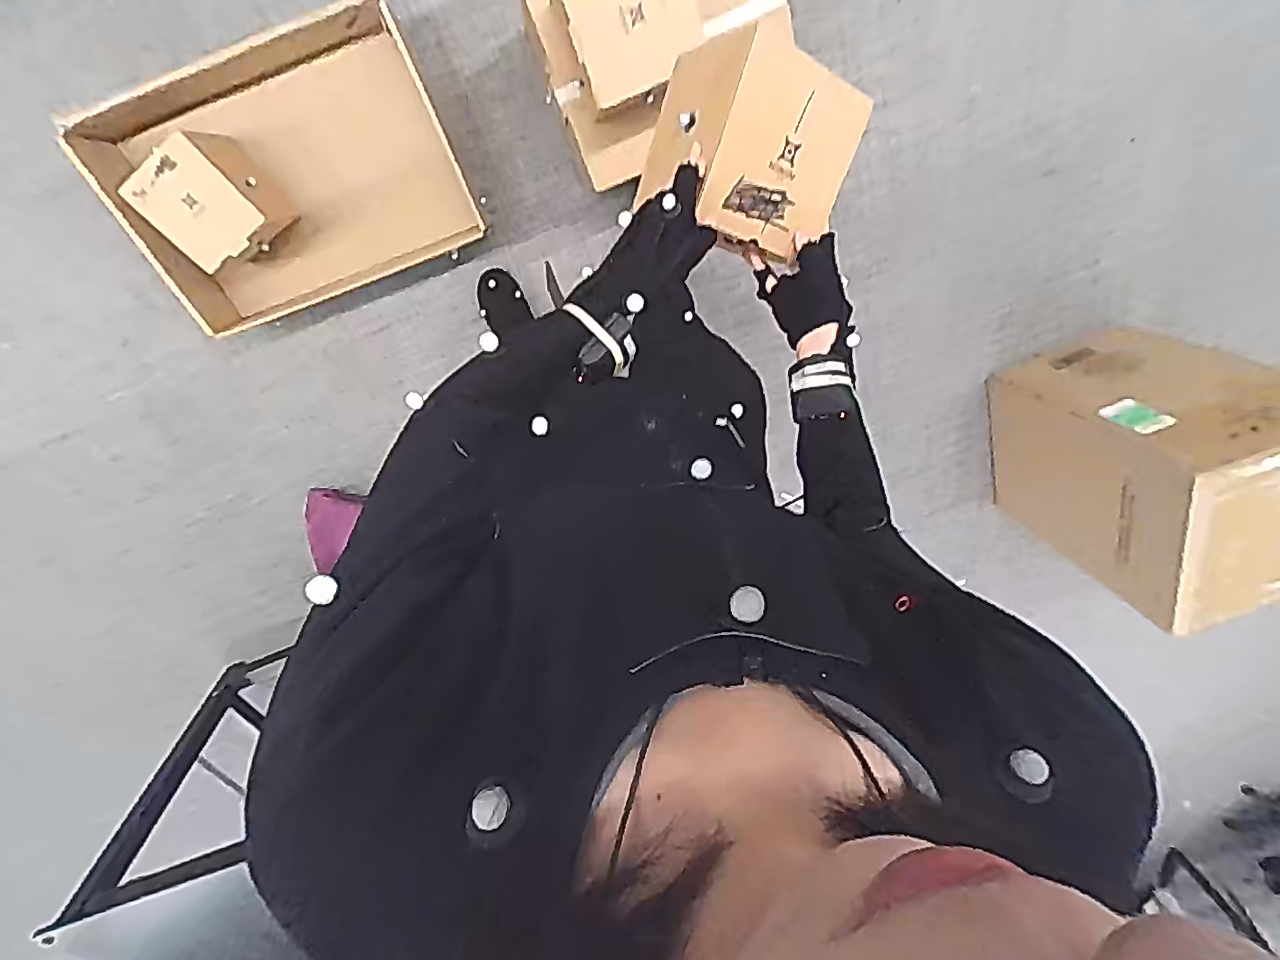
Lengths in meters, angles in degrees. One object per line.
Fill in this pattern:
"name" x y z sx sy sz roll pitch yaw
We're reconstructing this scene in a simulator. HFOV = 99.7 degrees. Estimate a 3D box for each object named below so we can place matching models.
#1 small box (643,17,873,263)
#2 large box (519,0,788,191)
"small box" 0.120 -0.373 0.626 0.168 0.176 0.179 7 112 -29
"large box" 0.024 -0.789 1.026 0.408 0.320 0.320 -23 121 2
